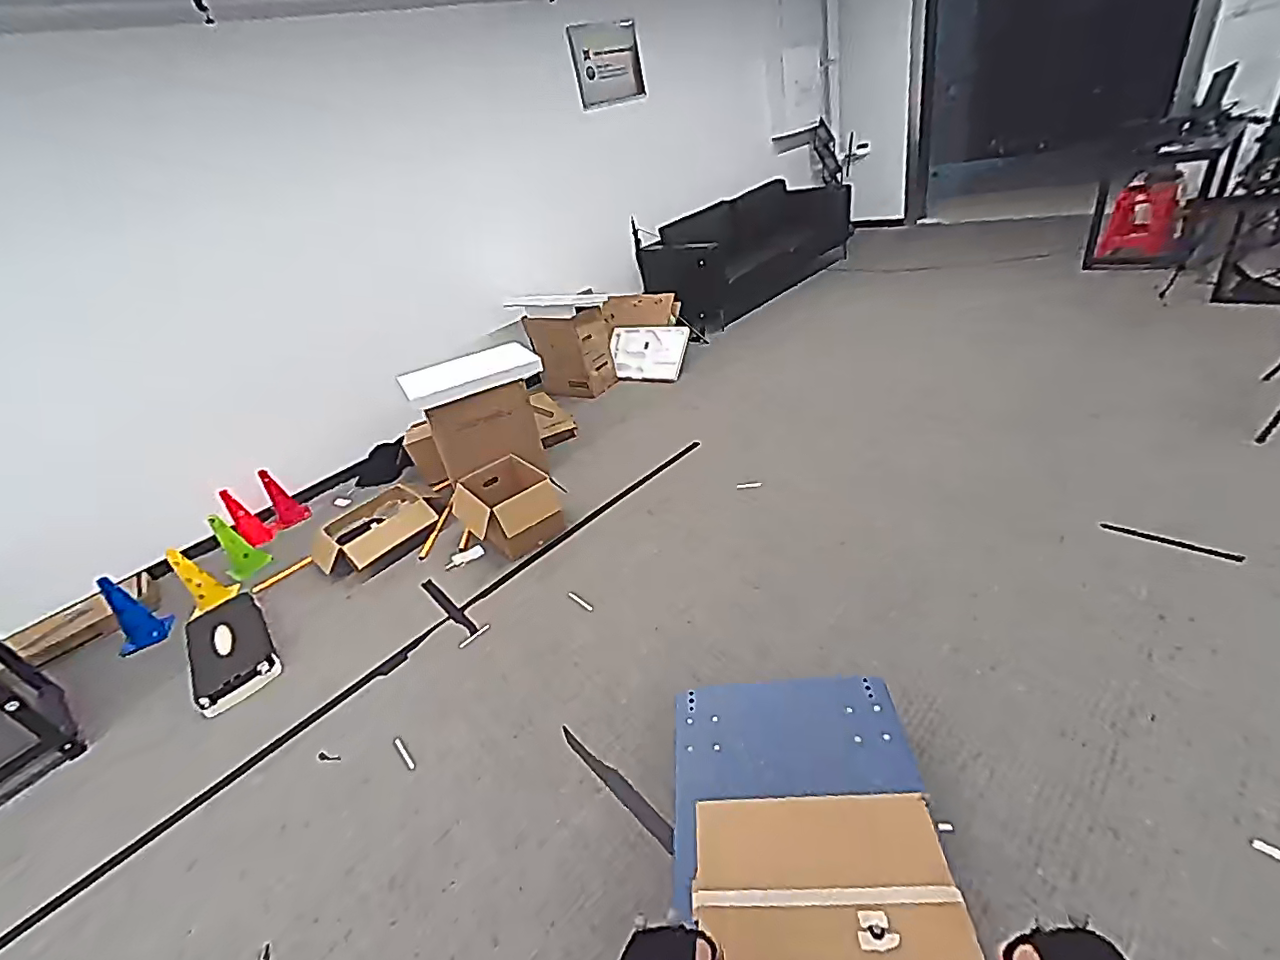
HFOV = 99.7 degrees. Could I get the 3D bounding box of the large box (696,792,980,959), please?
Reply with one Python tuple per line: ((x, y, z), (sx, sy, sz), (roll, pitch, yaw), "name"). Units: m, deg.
((0.319, 0.788, 0.941), (0.408, 0.320, 0.320), (-7, 33, 8), "large box")
